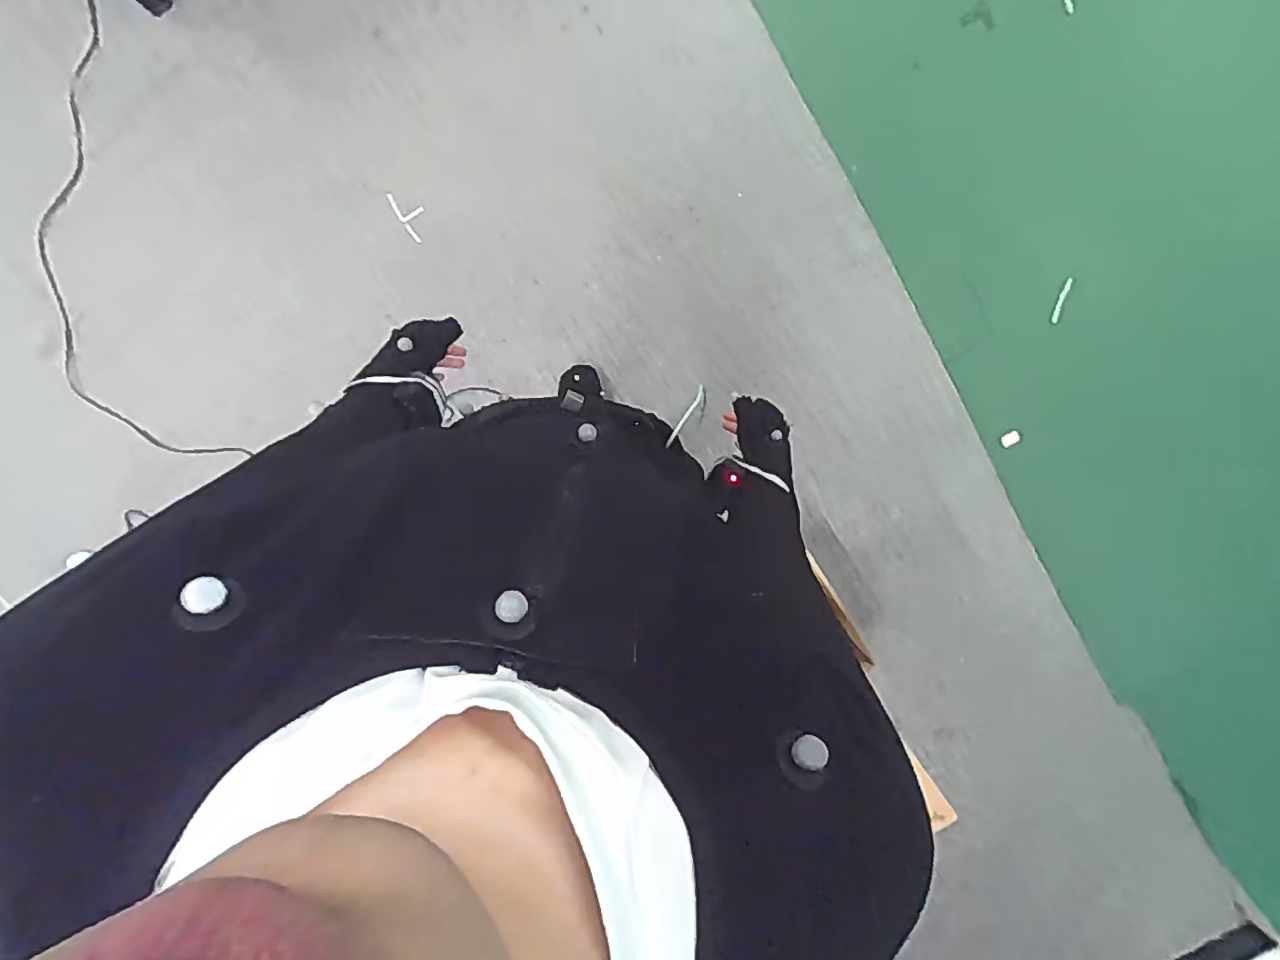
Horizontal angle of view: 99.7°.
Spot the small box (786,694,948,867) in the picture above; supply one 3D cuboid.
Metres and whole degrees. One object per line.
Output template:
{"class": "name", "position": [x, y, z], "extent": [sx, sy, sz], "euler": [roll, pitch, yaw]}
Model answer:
{"class": "small box", "position": [0.379, 0.503, 0.936], "extent": [0.168, 0.176, 0.179], "euler": [-34, 99, 7]}
